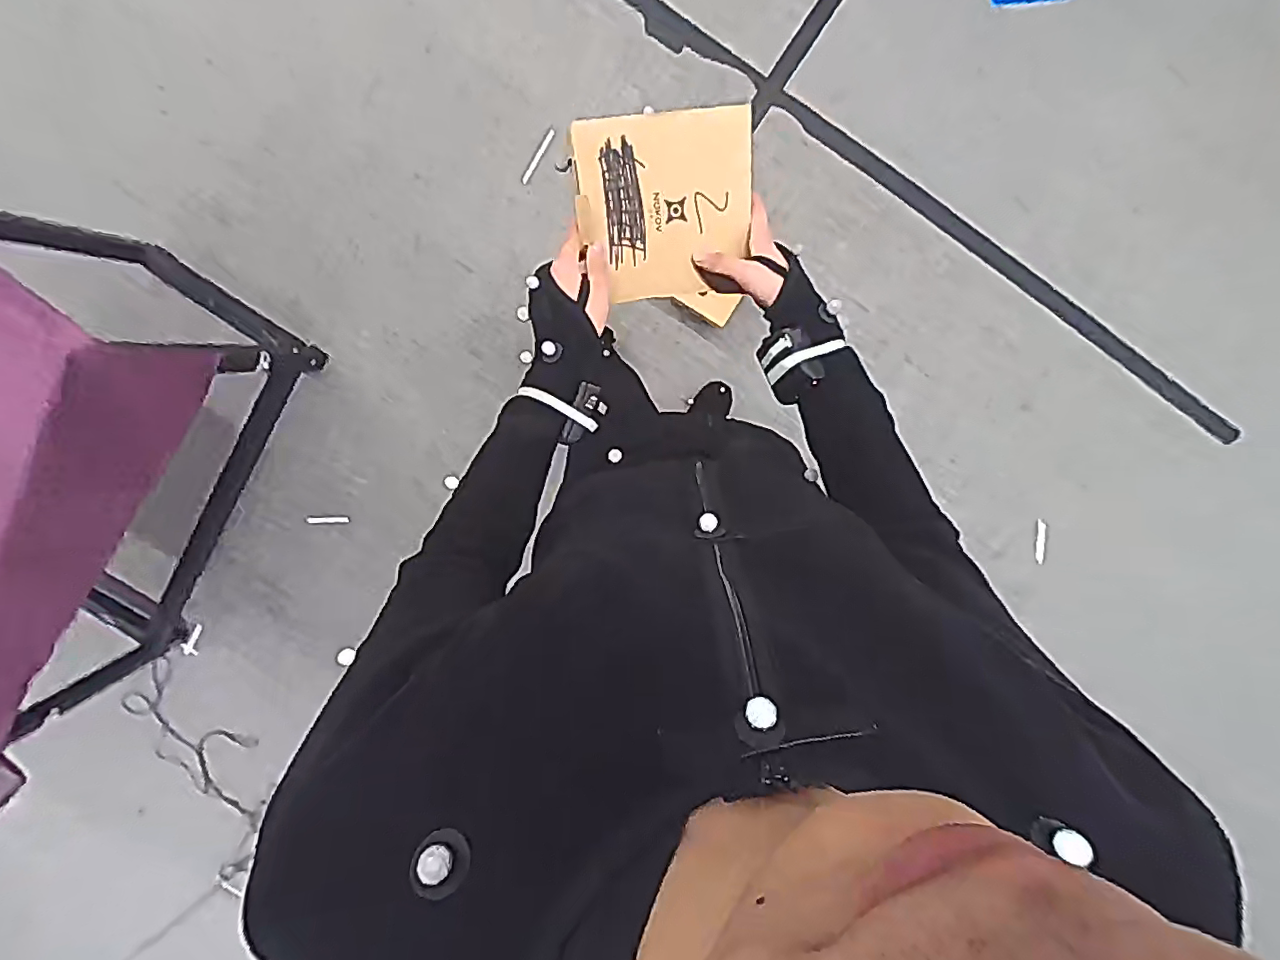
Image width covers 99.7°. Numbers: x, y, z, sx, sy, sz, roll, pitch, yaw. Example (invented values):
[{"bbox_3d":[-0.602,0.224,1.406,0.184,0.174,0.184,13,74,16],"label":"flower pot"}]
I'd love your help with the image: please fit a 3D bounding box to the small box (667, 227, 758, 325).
[{"bbox_3d":[0.186,-0.522,1.415,0.168,0.176,0.179,31,103,-4],"label":"small box"}]
